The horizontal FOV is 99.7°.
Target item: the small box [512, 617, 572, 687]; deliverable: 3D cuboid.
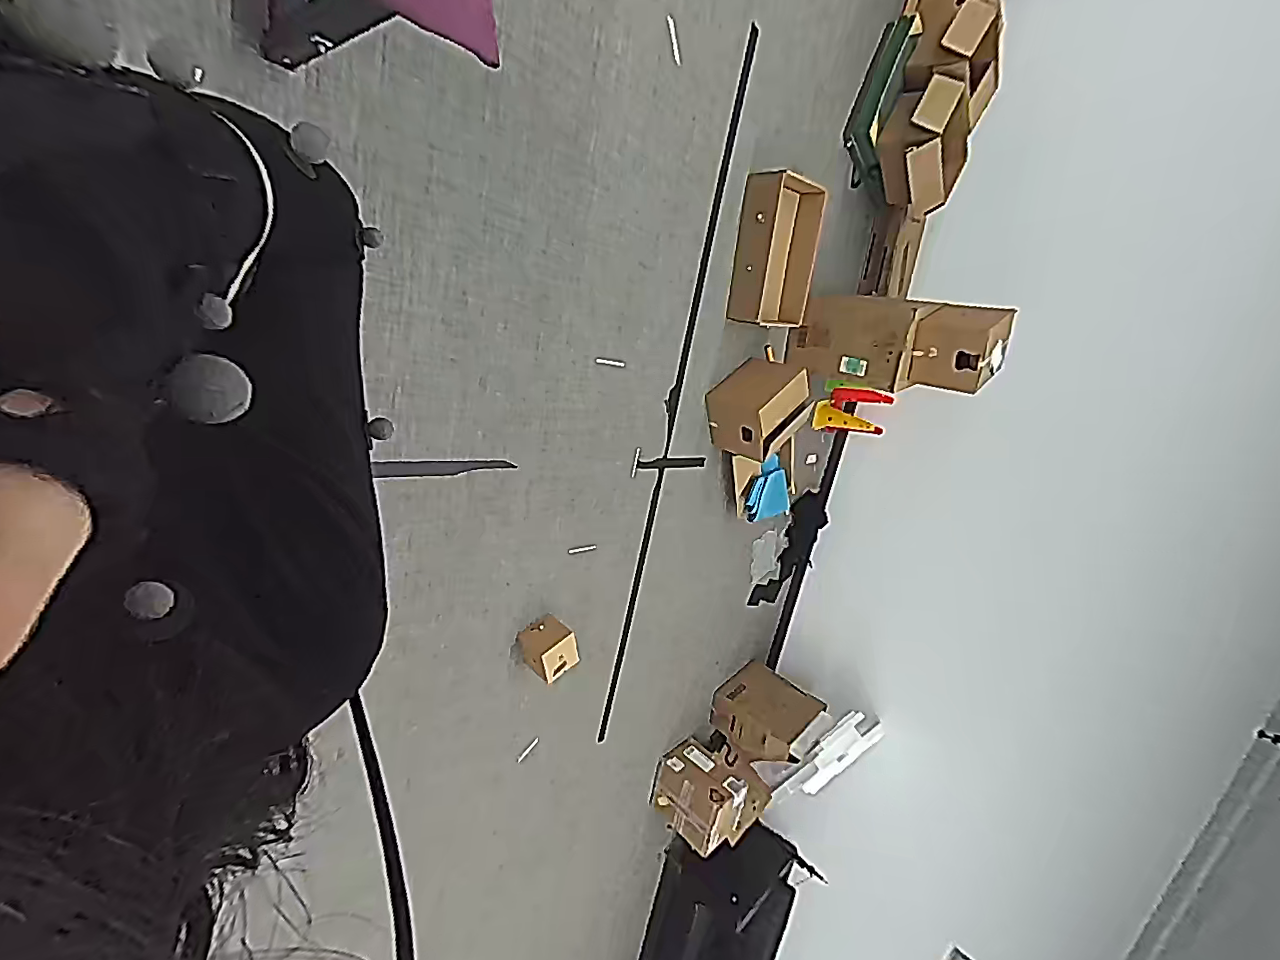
[{"bbox_3d":[-0.405,0.704,2.230,0.168,0.176,0.179,-30,129,-37],"label":"small box"}]
